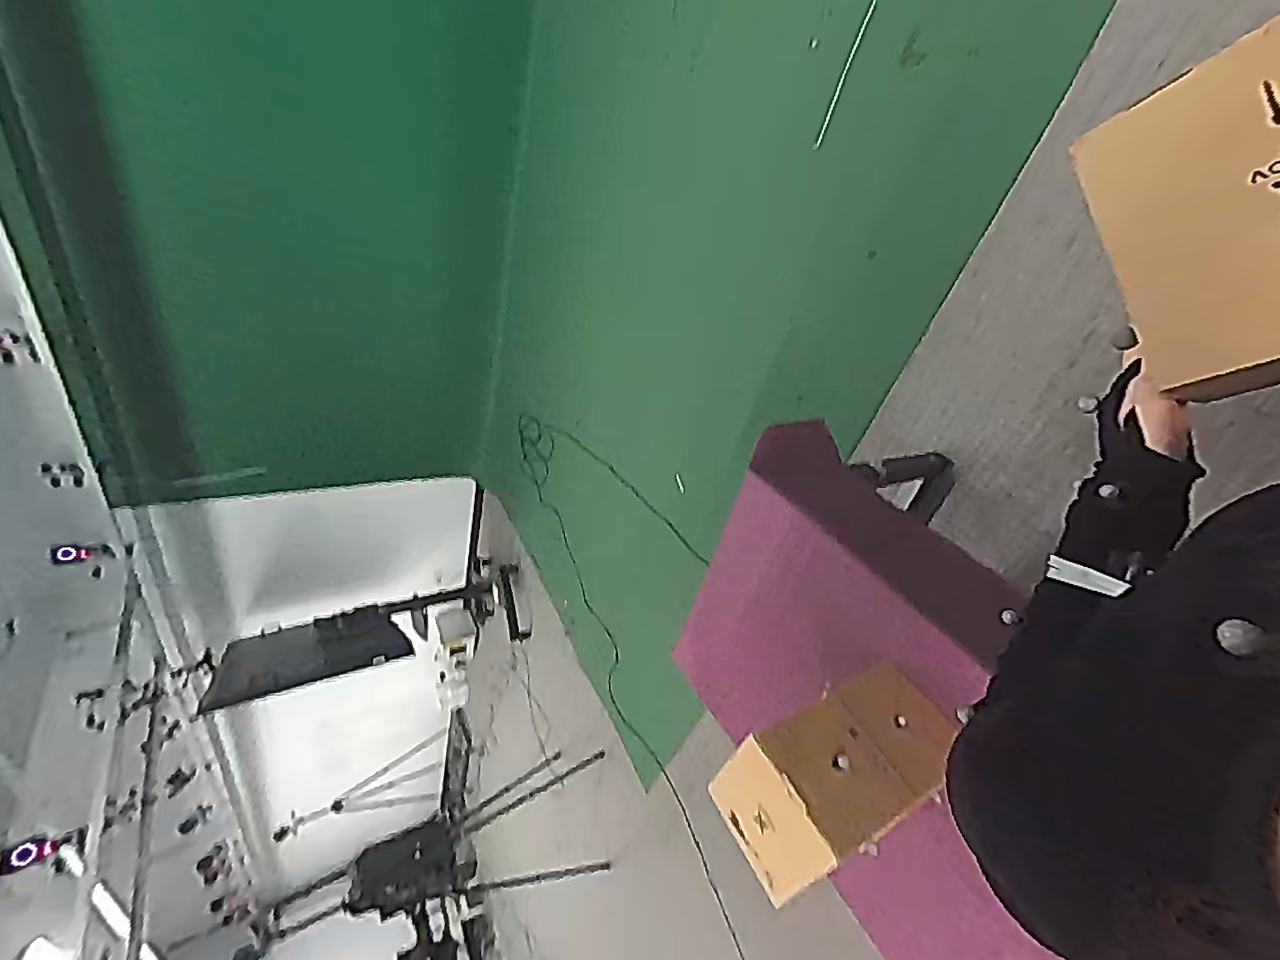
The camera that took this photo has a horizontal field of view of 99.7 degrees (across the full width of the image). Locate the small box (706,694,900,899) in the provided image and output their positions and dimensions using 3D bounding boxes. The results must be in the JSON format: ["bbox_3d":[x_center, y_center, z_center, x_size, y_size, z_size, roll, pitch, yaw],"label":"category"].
[{"bbox_3d":[0.231,0.435,0.765,0.168,0.176,0.179,53,136,36],"label":"small box"}]

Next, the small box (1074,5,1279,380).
[{"bbox_3d":[0.409,-0.167,0.328,0.168,0.176,0.179,-20,77,50],"label":"small box"}]
